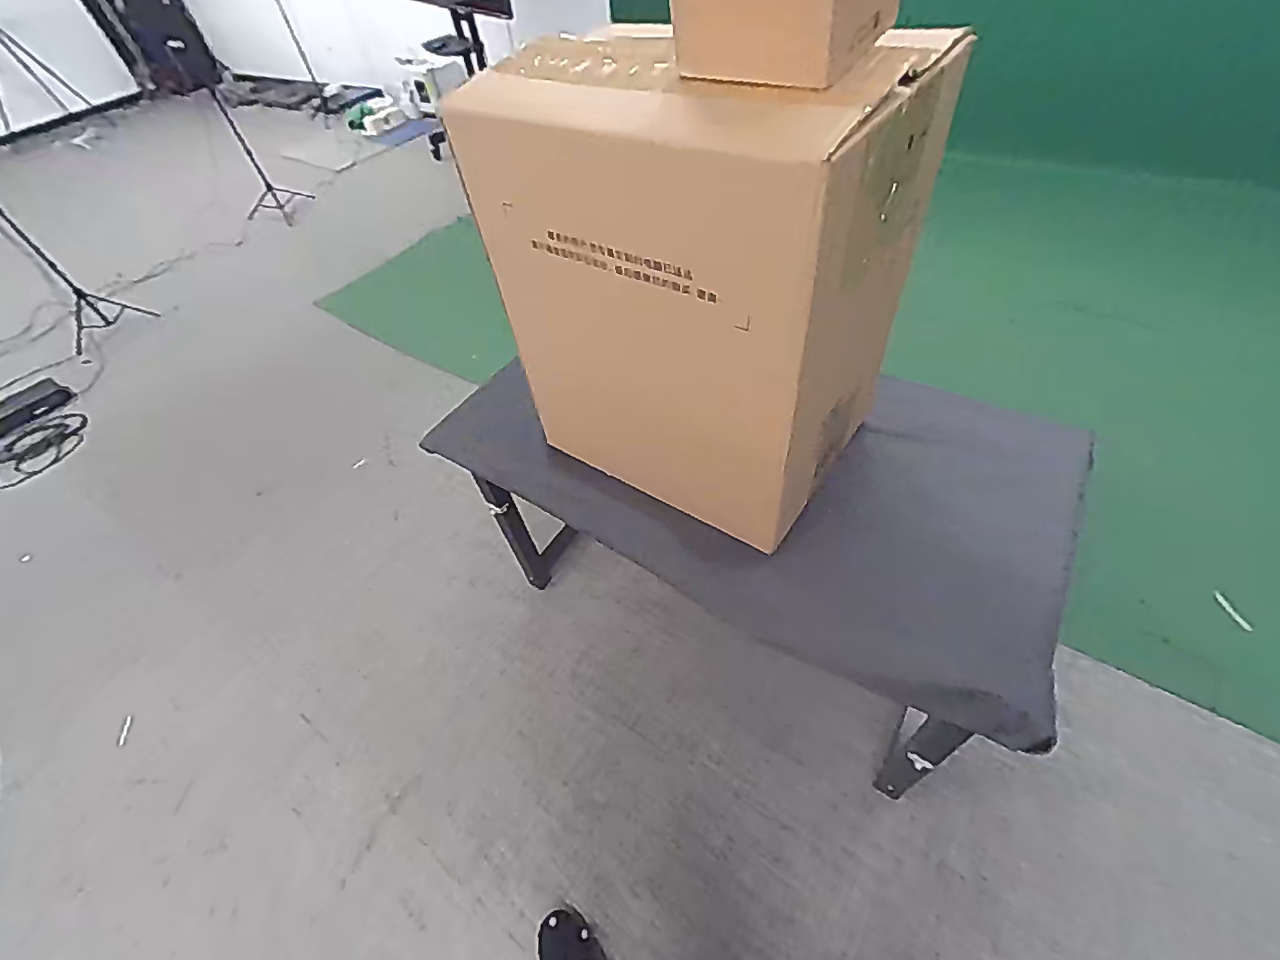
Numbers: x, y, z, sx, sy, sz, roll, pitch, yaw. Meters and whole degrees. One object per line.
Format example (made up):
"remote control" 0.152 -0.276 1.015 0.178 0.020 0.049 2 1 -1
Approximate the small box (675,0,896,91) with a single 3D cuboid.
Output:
"small box" 0.141 -0.505 0.520 0.179 0.176 0.168 27 65 27
